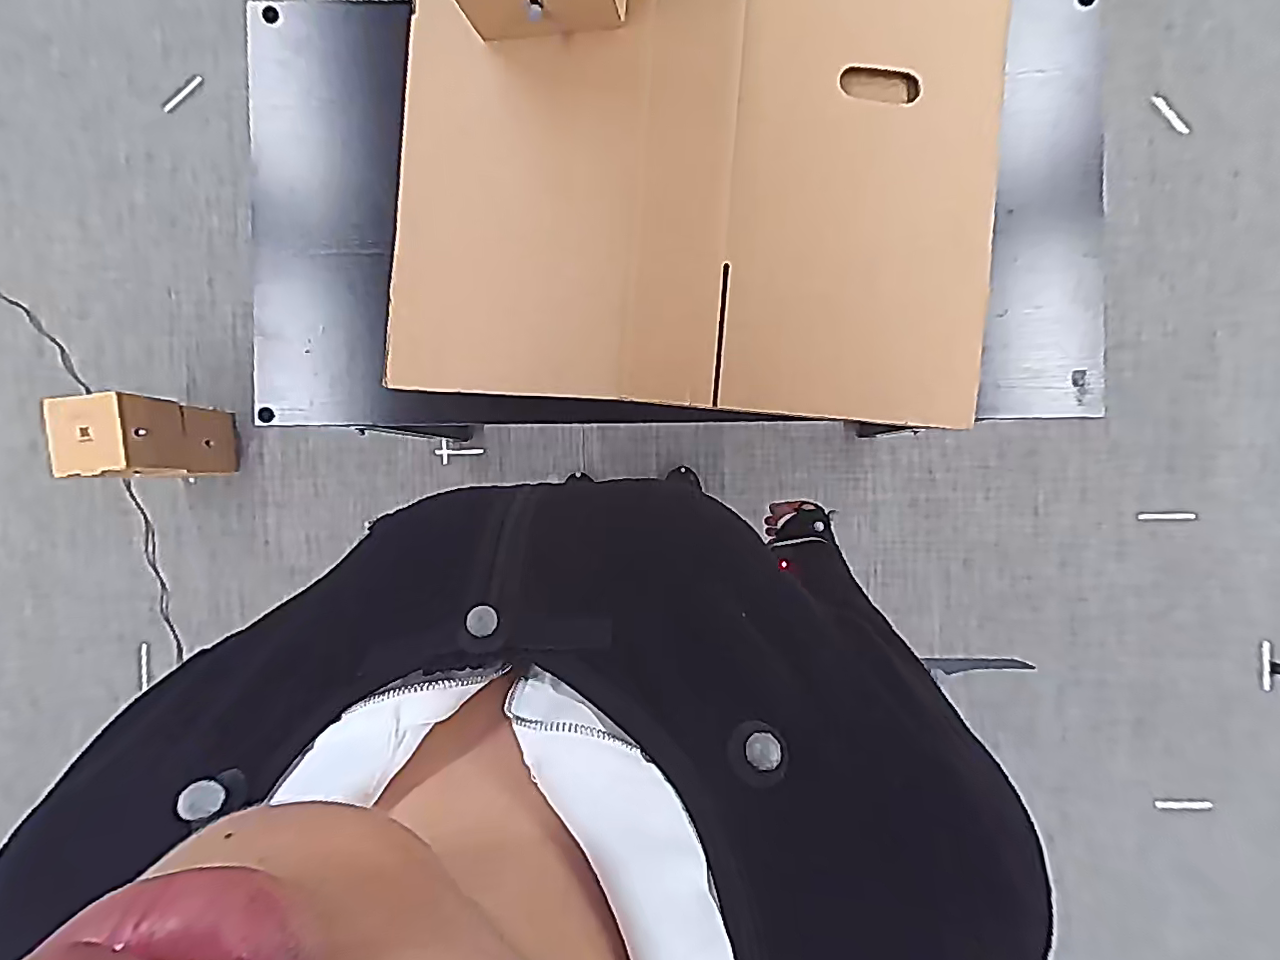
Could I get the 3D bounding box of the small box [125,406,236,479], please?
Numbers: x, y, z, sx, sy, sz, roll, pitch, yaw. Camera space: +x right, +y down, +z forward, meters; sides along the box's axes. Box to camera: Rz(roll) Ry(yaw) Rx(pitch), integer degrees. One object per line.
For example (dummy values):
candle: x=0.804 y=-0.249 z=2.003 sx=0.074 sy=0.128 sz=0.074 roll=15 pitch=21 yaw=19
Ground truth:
small box: x=-1.216 y=-0.094 z=1.434 sx=0.168 sy=0.176 sz=0.179 roll=-5 pitch=91 yaw=1

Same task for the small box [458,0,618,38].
small box: x=-0.111 y=-0.584 z=0.531 sx=0.179 sy=0.176 sz=0.168 roll=6 pitch=90 yaw=13

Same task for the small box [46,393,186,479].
small box: x=-1.219 y=-0.100 z=1.272 sx=0.168 sy=0.176 sz=0.179 roll=-7 pitch=90 yaw=0
